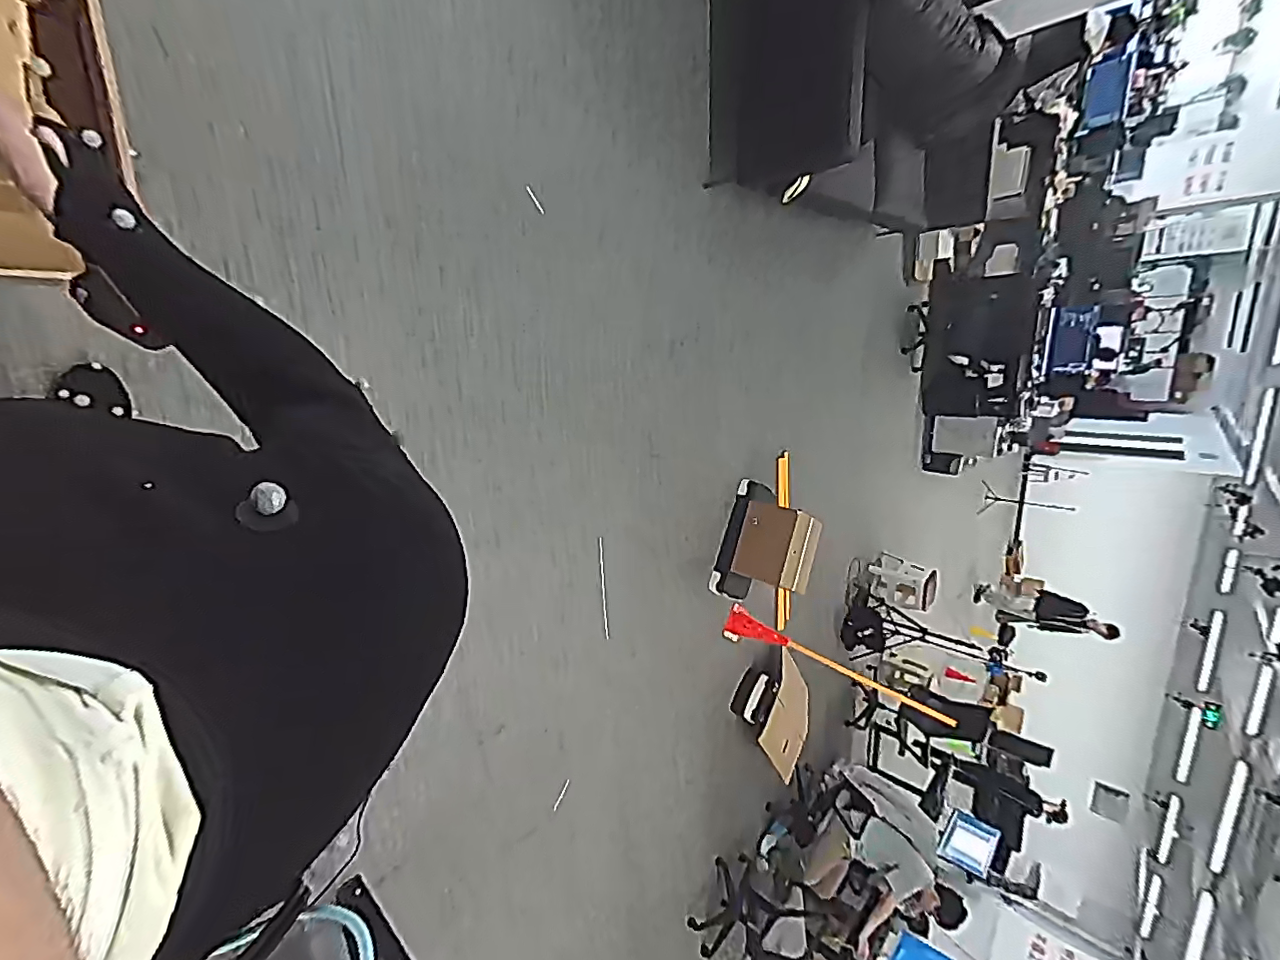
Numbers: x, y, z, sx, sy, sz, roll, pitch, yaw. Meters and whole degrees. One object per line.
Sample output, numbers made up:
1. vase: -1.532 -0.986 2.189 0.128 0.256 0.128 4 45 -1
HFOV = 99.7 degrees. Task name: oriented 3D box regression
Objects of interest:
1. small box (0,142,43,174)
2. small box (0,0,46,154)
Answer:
1. small box: -0.768 -0.442 0.565 0.179 0.176 0.168 -13 109 -47
2. small box: -0.603 -0.374 0.418 0.179 0.176 0.168 -7 110 -49
